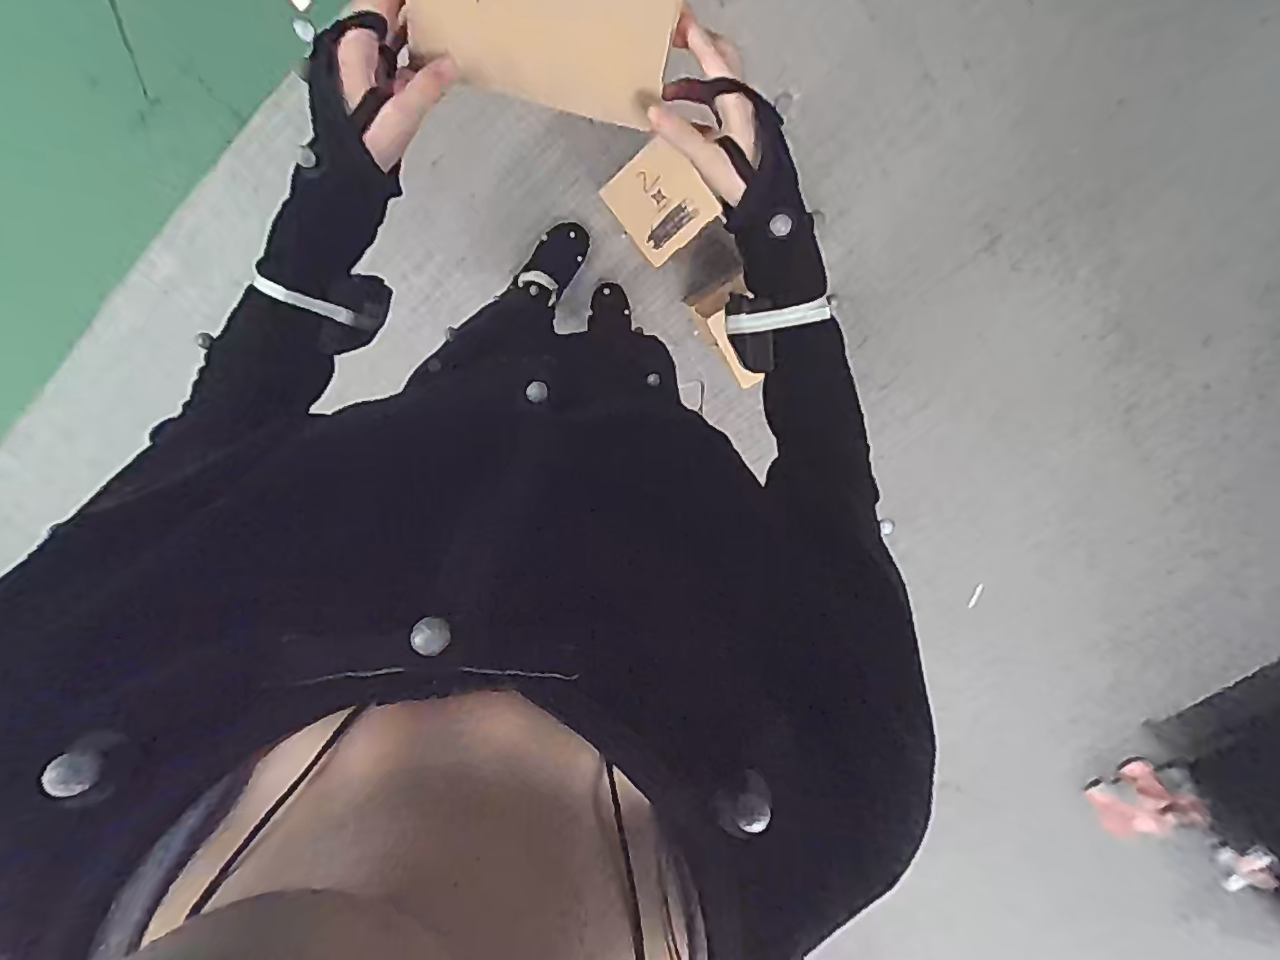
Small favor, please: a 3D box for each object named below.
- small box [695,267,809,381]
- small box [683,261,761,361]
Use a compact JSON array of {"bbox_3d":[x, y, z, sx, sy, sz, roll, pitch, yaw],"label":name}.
[{"bbox_3d":[0.235,-0.342,1.178,0.168,0.176,0.179,-29,110,10],"label":"small box"},{"bbox_3d":[0.221,-0.420,1.323,0.179,0.176,0.168,-29,111,10],"label":"small box"}]
